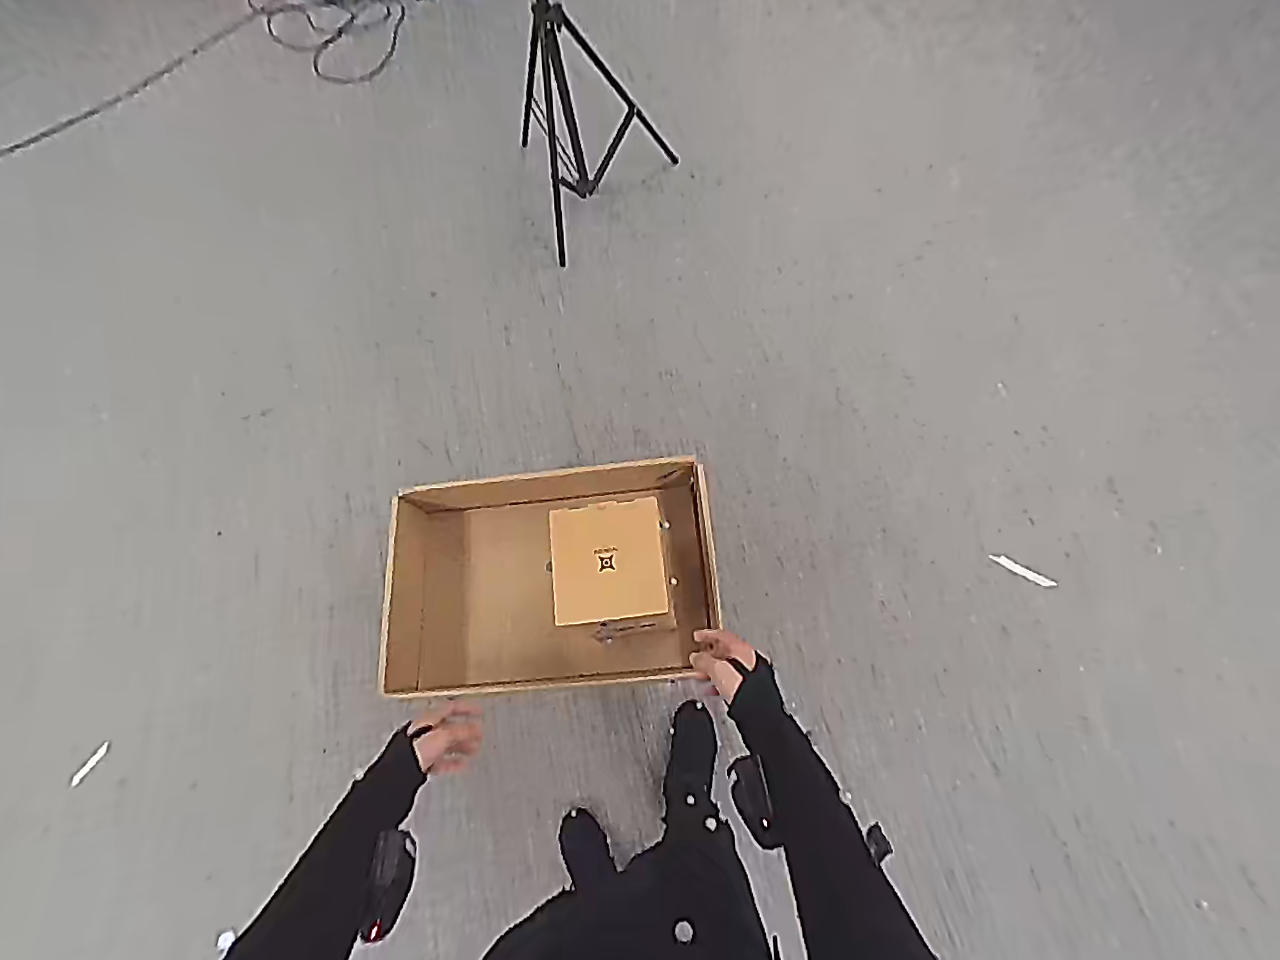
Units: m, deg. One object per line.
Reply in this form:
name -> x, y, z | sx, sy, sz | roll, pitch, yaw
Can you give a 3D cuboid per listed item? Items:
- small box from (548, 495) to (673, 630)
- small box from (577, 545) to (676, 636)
small box -> -0.041, 0.139, 0.857 | 0.168, 0.176, 0.179 | -8, 70, 3
small box -> -0.026, 0.194, 1.010 | 0.168, 0.176, 0.179 | -9, 70, 3
